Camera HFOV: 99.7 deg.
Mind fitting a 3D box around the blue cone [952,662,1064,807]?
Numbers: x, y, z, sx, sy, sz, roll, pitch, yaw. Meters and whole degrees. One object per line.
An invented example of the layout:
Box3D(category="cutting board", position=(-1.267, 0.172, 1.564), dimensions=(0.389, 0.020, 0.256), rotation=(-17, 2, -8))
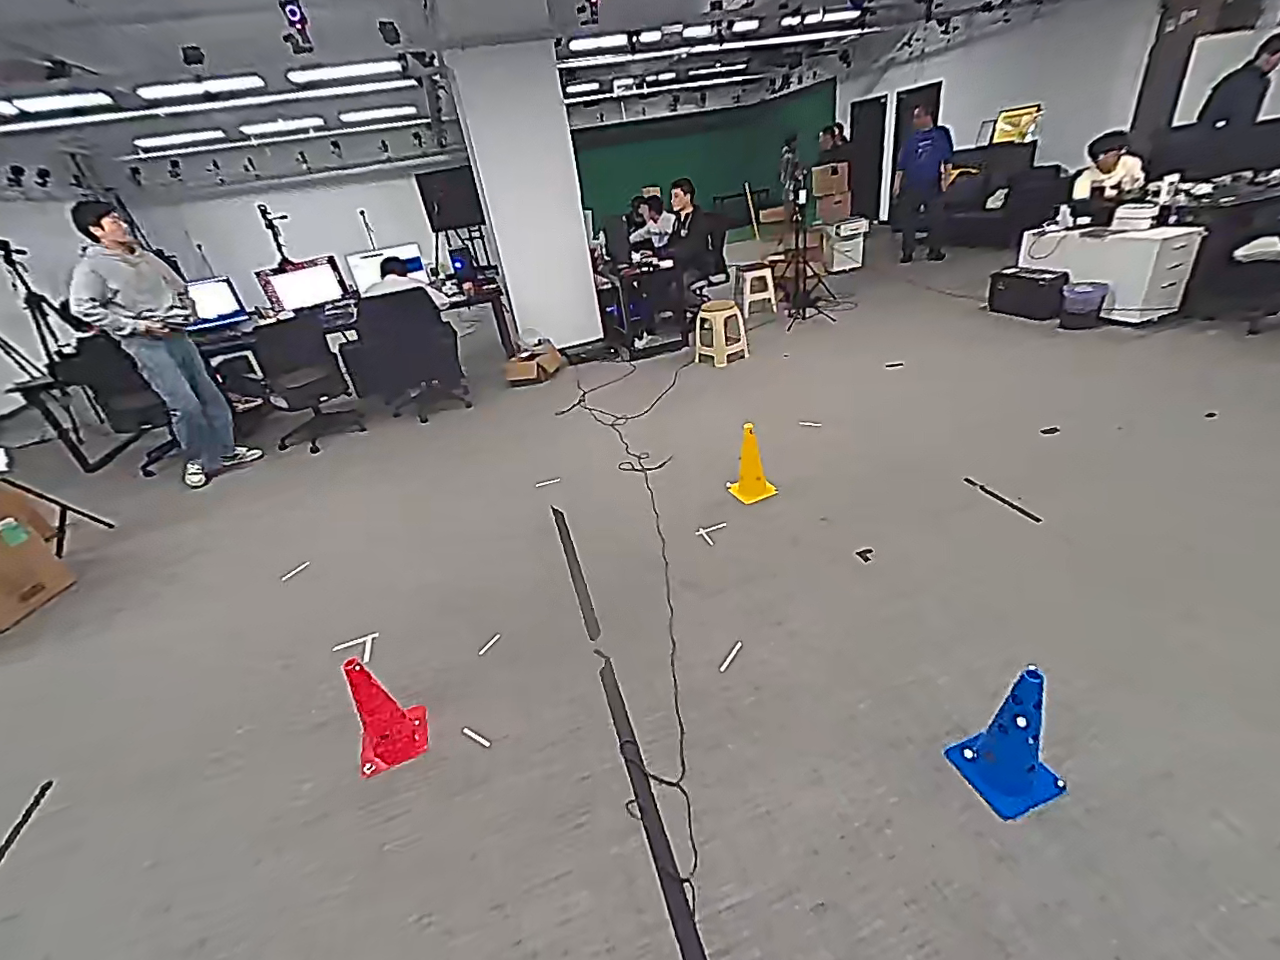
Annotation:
Box3D(category="blue cone", position=(0.909, 0.584, 1.300), dimensions=(0.192, 0.380, 0.193), rotation=(-15, 29, -11))

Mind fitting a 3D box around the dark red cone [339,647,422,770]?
Box3D(category="dark red cone", position=(-0.818, 0.661, 1.634), dimensions=(0.201, 0.394, 0.202), rotation=(-19, 30, -18))
